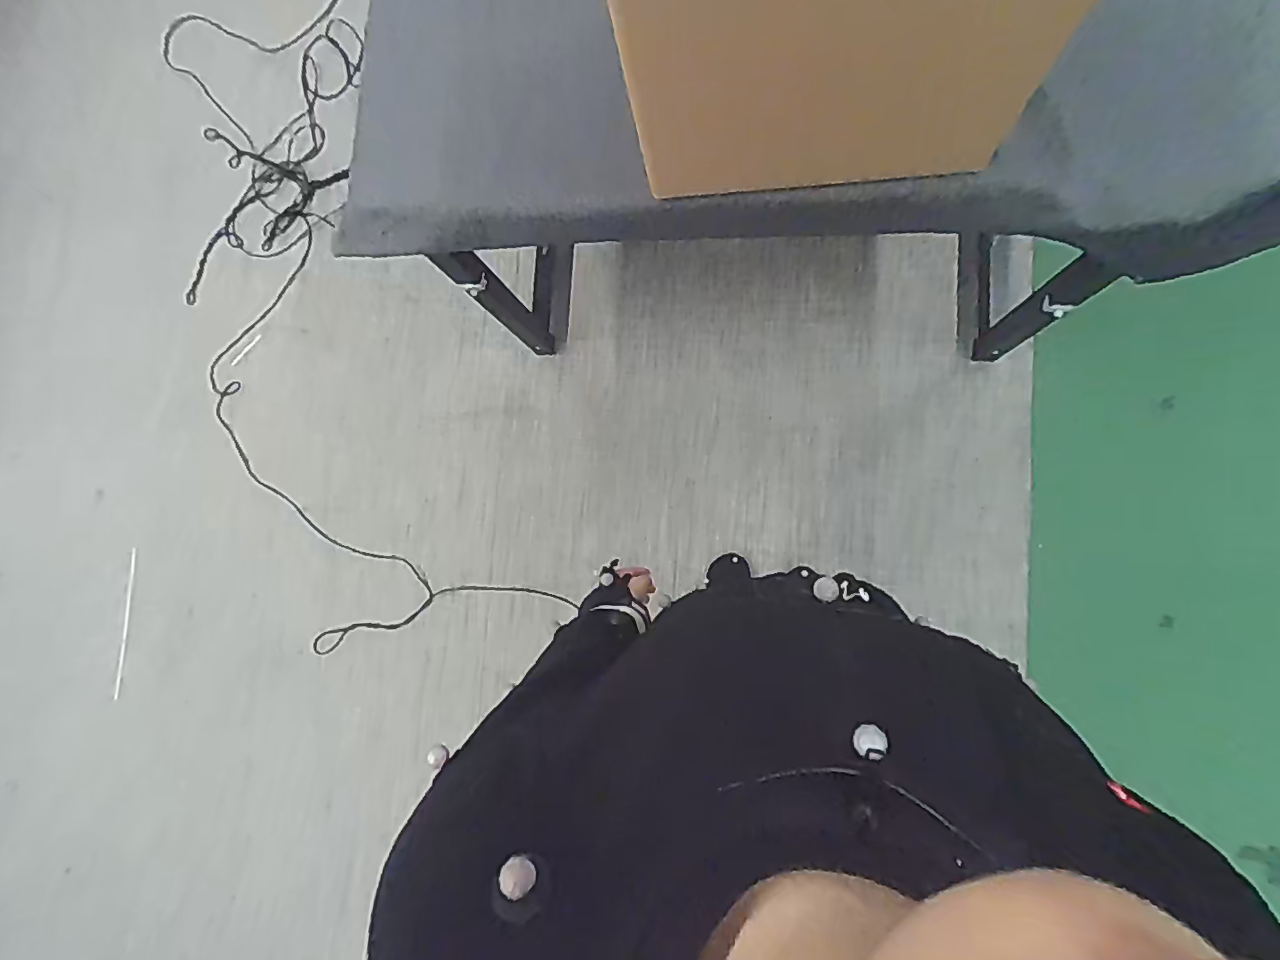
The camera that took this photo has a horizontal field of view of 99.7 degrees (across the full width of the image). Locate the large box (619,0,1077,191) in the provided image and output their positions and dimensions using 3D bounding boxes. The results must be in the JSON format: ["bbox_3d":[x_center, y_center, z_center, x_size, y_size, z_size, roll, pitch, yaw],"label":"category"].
[{"bbox_3d":[0.190,-0.550,0.560,0.408,0.320,0.320,0,84,8],"label":"large box"}]
